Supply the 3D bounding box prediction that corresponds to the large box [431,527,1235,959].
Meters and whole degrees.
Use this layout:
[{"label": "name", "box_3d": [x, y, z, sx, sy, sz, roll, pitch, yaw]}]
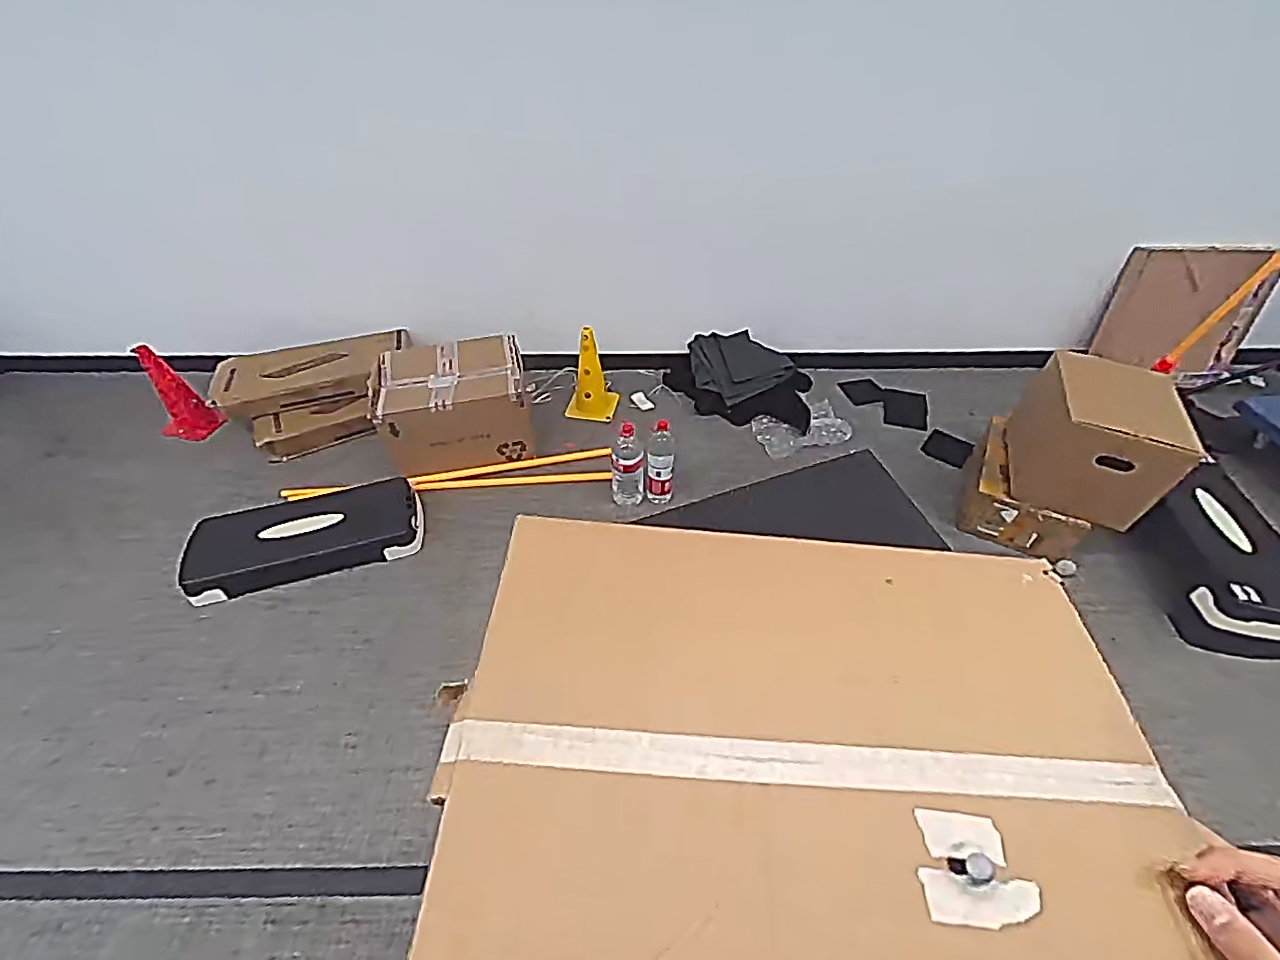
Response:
[{"label": "large box", "box_3d": [0.089, 0.264, 0.427, 0.408, 0.320, 0.320, 6, 49, -3]}]
